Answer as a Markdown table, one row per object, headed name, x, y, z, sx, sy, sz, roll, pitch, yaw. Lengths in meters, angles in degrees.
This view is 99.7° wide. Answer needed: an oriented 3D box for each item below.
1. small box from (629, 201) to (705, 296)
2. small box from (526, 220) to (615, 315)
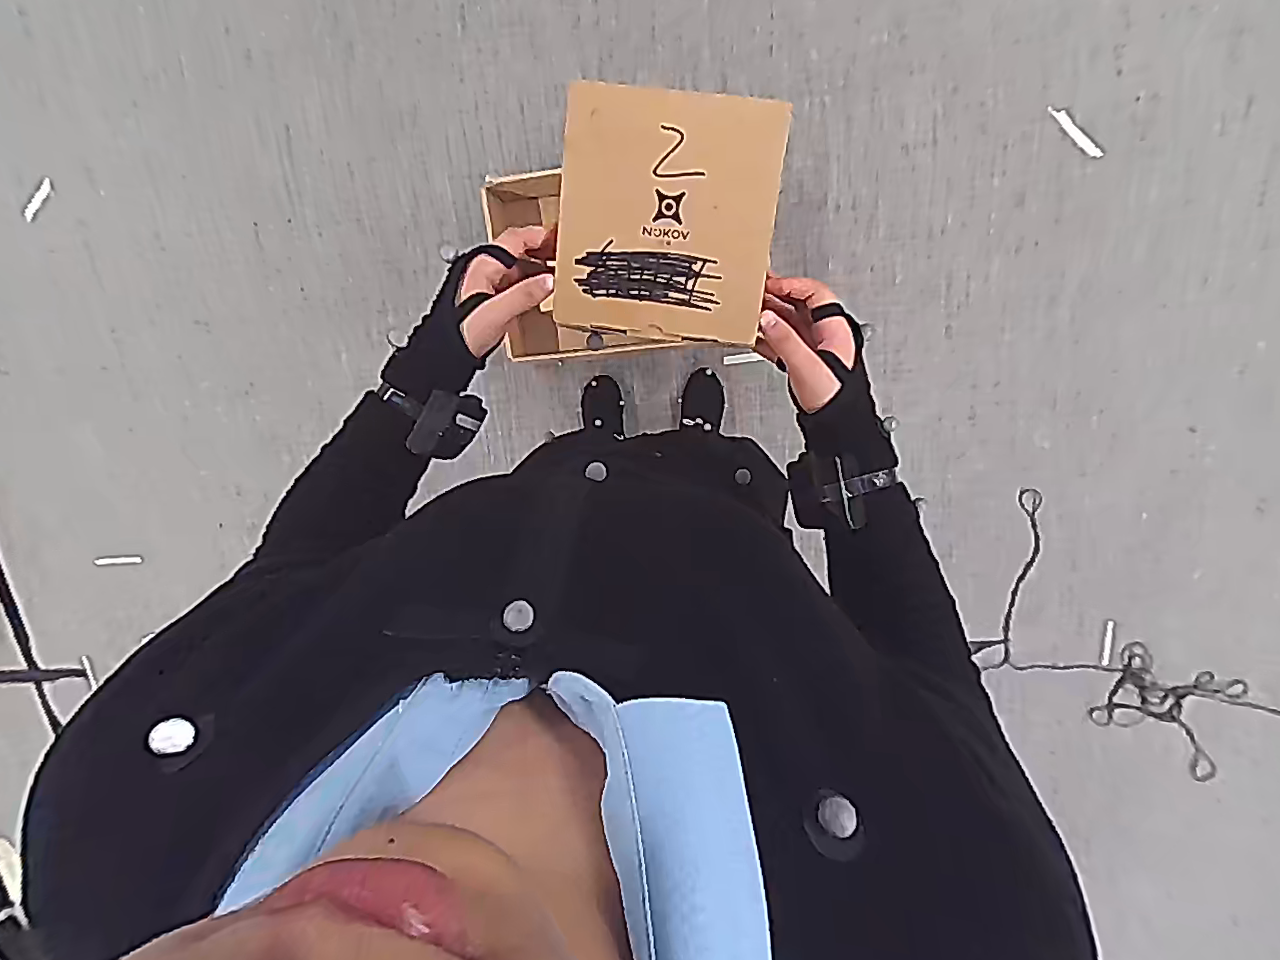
| name | x | y | z | sx | sy | sz | roll | pitch | yaw |
| --- | --- | --- | --- | --- | --- | --- | --- | --- | --- |
| small box | 0.061 | -0.522 | 1.241 | 0.168 | 0.176 | 0.179 | 0 | 104 | 4 |
| small box | -0.153 | -0.484 | 1.260 | 0.168 | 0.176 | 0.179 | -7 | 103 | 3 |
